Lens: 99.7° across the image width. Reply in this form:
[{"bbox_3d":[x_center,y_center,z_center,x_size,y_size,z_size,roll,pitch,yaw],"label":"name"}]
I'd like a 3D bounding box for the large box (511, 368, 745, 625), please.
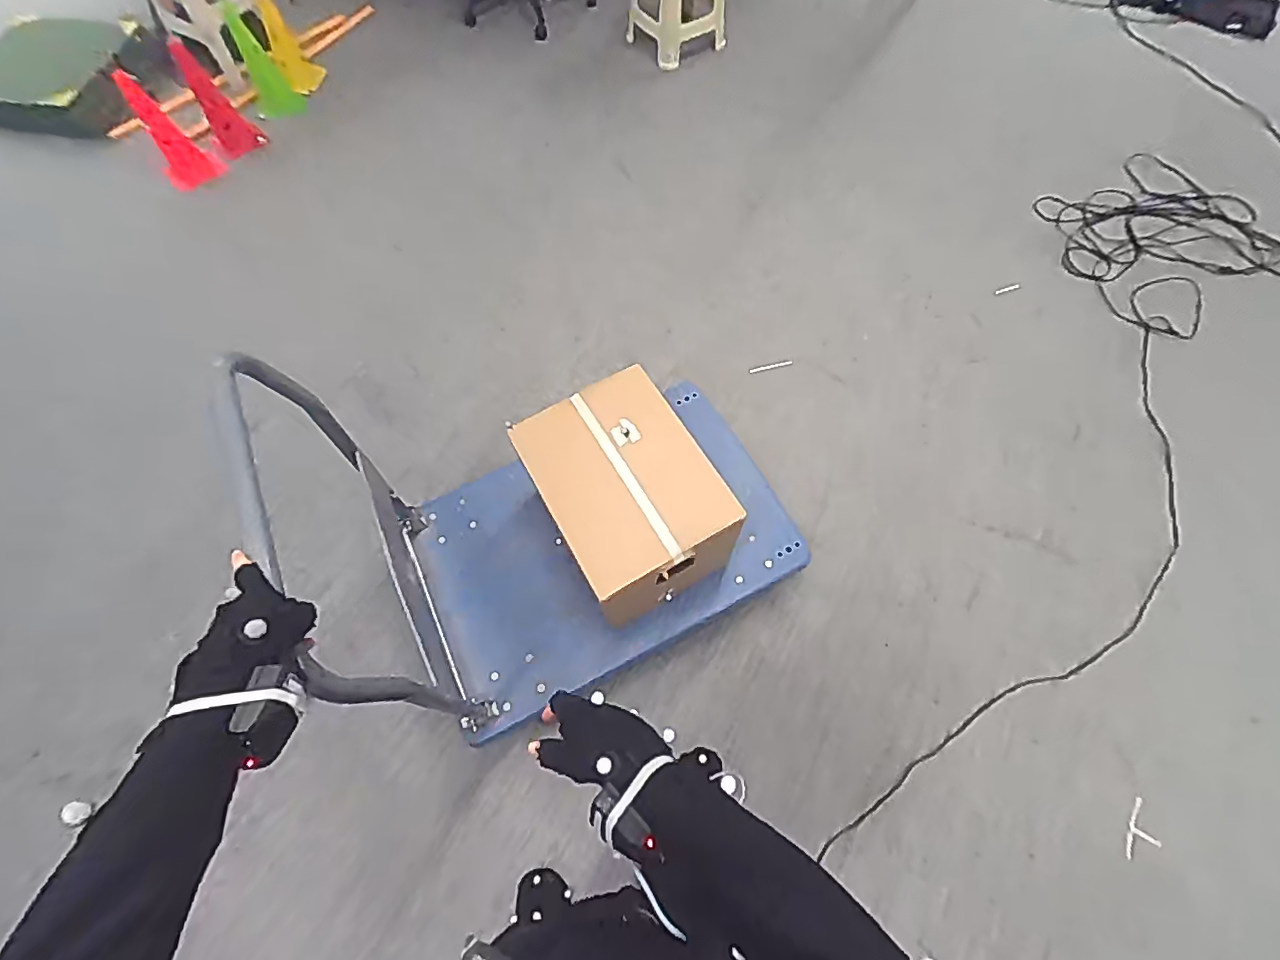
[{"bbox_3d":[-0.023,0.045,1.184,0.320,0.320,0.408,-29,66,-11],"label":"large box"}]
